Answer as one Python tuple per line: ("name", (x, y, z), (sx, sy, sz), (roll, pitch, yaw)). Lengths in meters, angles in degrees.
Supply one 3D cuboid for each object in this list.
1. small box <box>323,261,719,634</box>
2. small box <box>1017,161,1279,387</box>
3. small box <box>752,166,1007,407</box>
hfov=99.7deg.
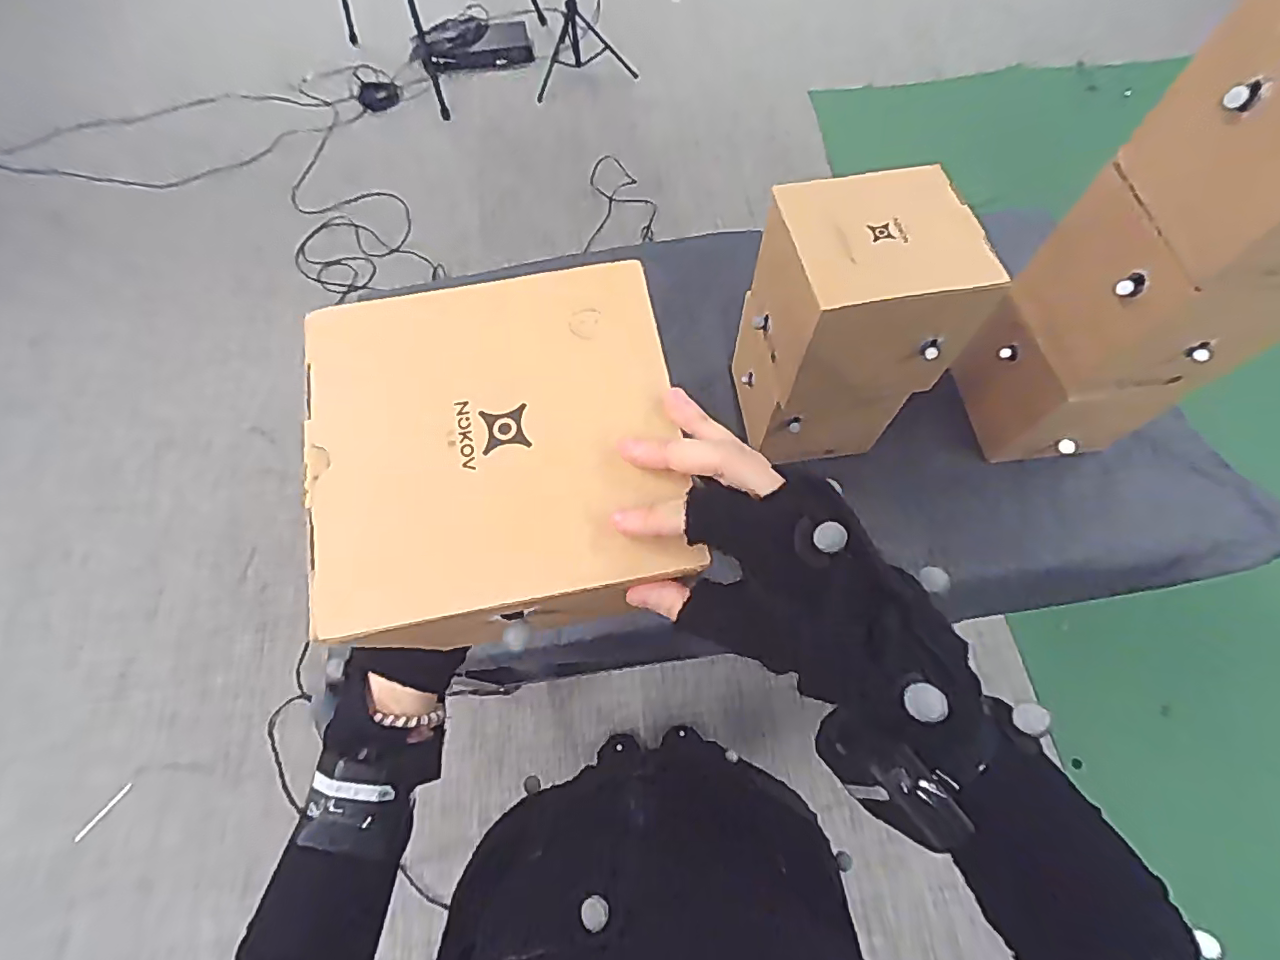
("small box", (-0.064, -0.003, 0.337), (0.179, 0.176, 0.168), (-11, 73, -4))
("small box", (0.555, -0.212, 0.577), (0.168, 0.176, 0.179), (-5, 65, 0))
("small box", (0.234, -0.199, 0.583), (0.179, 0.176, 0.168), (-9, 64, -2))
